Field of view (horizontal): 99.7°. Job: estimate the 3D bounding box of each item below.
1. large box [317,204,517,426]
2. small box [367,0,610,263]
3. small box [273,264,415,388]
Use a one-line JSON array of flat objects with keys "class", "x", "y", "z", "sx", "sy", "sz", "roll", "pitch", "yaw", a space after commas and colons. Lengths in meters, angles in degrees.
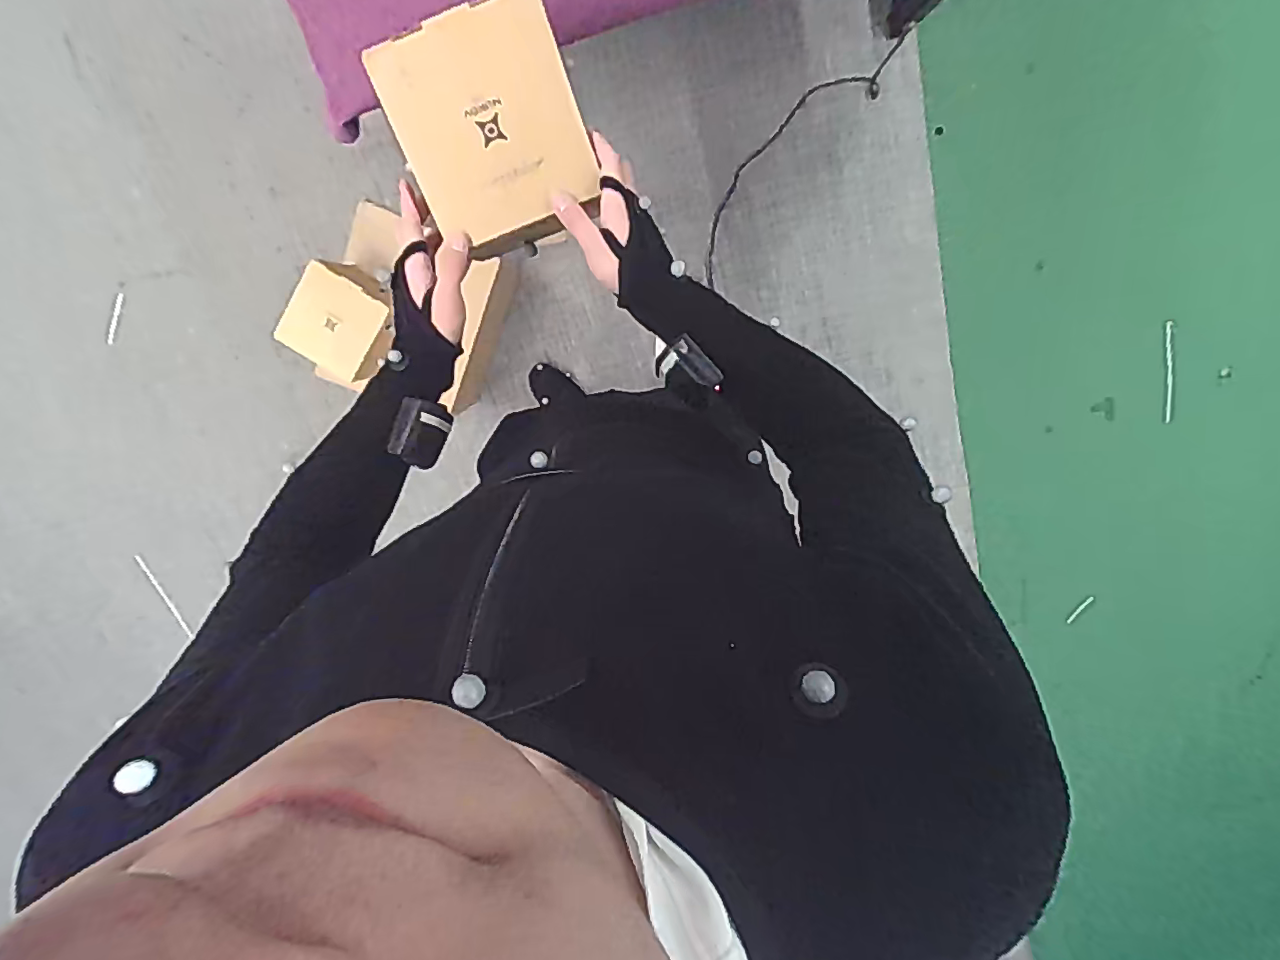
[{"class": "large box", "x": -0.533, "y": -0.392, "z": 1.348, "sx": 0.320, "sy": 0.320, "sz": 0.408, "roll": 21, "pitch": 103, "yaw": -10}, {"class": "small box", "x": -0.138, "y": -0.340, "z": 0.560, "sx": 0.168, "sy": 0.176, "sz": 0.179, "roll": -19, "pitch": 110, "yaw": 3}, {"class": "small box", "x": -0.596, "y": -0.312, "z": 1.113, "sx": 0.168, "sy": 0.176, "sz": 0.179, "roll": 33, "pitch": 102, "yaw": -10}]
